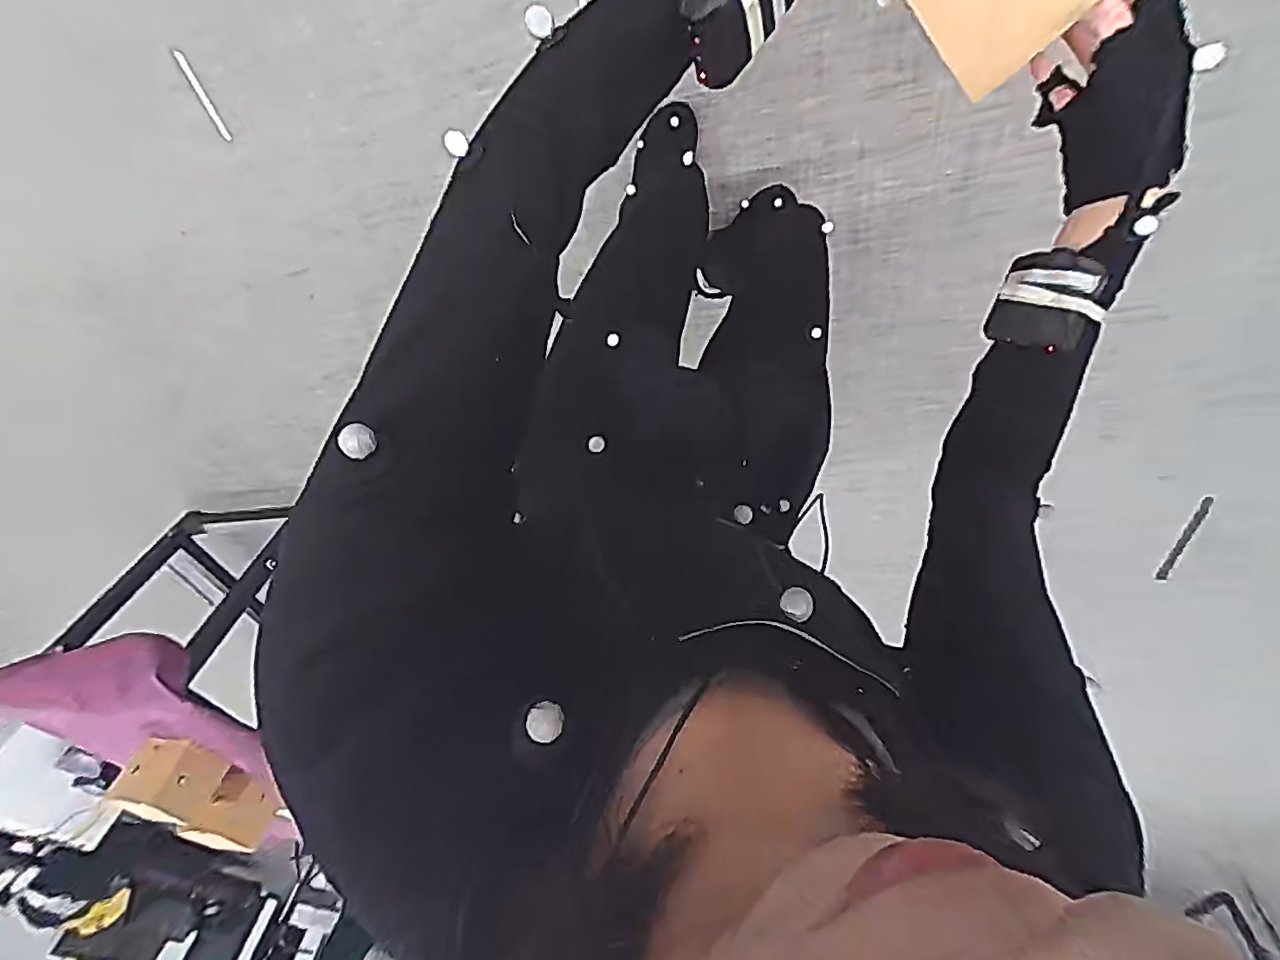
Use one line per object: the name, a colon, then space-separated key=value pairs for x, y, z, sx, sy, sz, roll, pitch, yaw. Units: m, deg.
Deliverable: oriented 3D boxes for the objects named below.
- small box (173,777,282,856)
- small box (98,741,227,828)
small box: x=-1.294 y=1.062 z=1.711 sx=0.168 sy=0.176 sz=0.179 roll=-4 pitch=130 yaw=13
small box: x=-1.348 y=0.865 z=1.541 sx=0.168 sy=0.176 sz=0.179 roll=-1 pitch=133 yaw=12
